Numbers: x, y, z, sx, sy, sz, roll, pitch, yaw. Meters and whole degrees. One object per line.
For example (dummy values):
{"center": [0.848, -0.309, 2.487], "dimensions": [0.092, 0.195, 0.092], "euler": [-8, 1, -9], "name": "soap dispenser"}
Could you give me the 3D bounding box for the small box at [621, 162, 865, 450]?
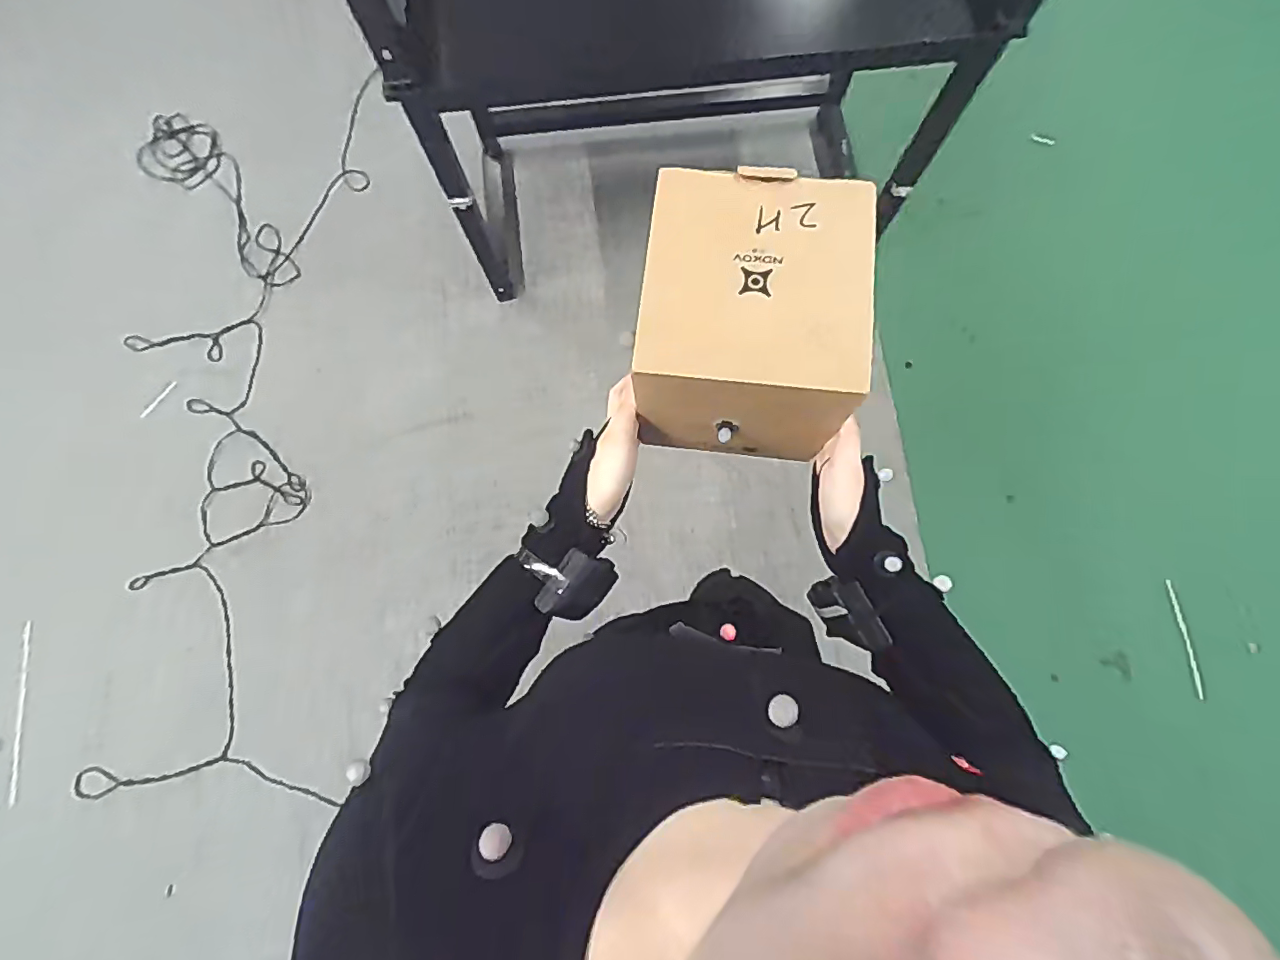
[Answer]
{"center": [0.082, -0.135, 0.470], "dimensions": [0.168, 0.176, 0.179], "euler": [6, 76, 4], "name": "small box"}
